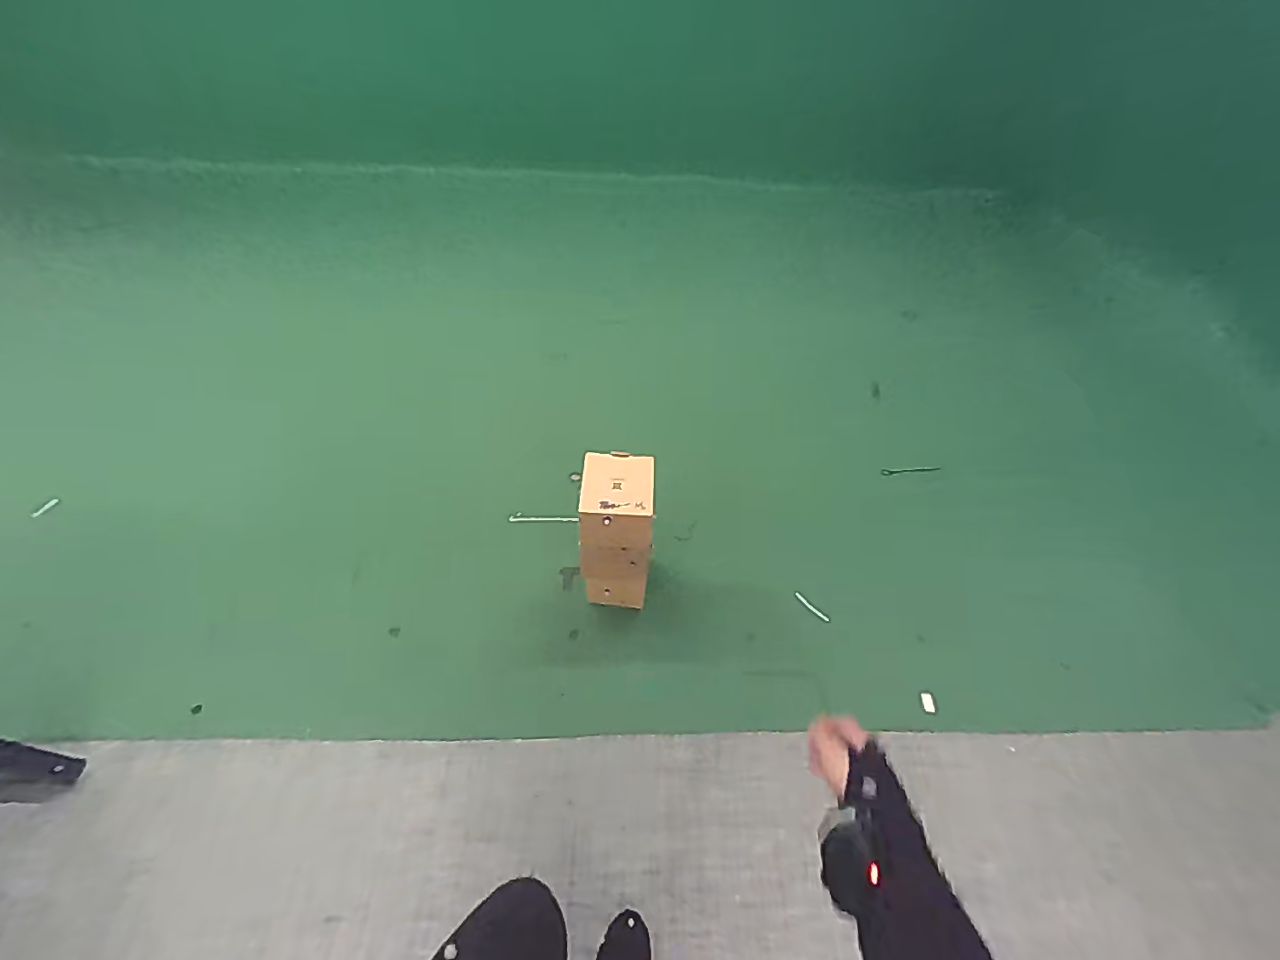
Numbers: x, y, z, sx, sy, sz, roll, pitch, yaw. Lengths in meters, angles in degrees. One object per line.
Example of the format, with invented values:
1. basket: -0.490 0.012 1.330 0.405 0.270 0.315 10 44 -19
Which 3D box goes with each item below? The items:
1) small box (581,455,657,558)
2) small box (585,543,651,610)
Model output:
1. small box: -0.051 0.065 1.293 0.168 0.176 0.179 4 51 -1
2. small box: -0.059 0.258 1.559 0.168 0.176 0.179 7 52 2
